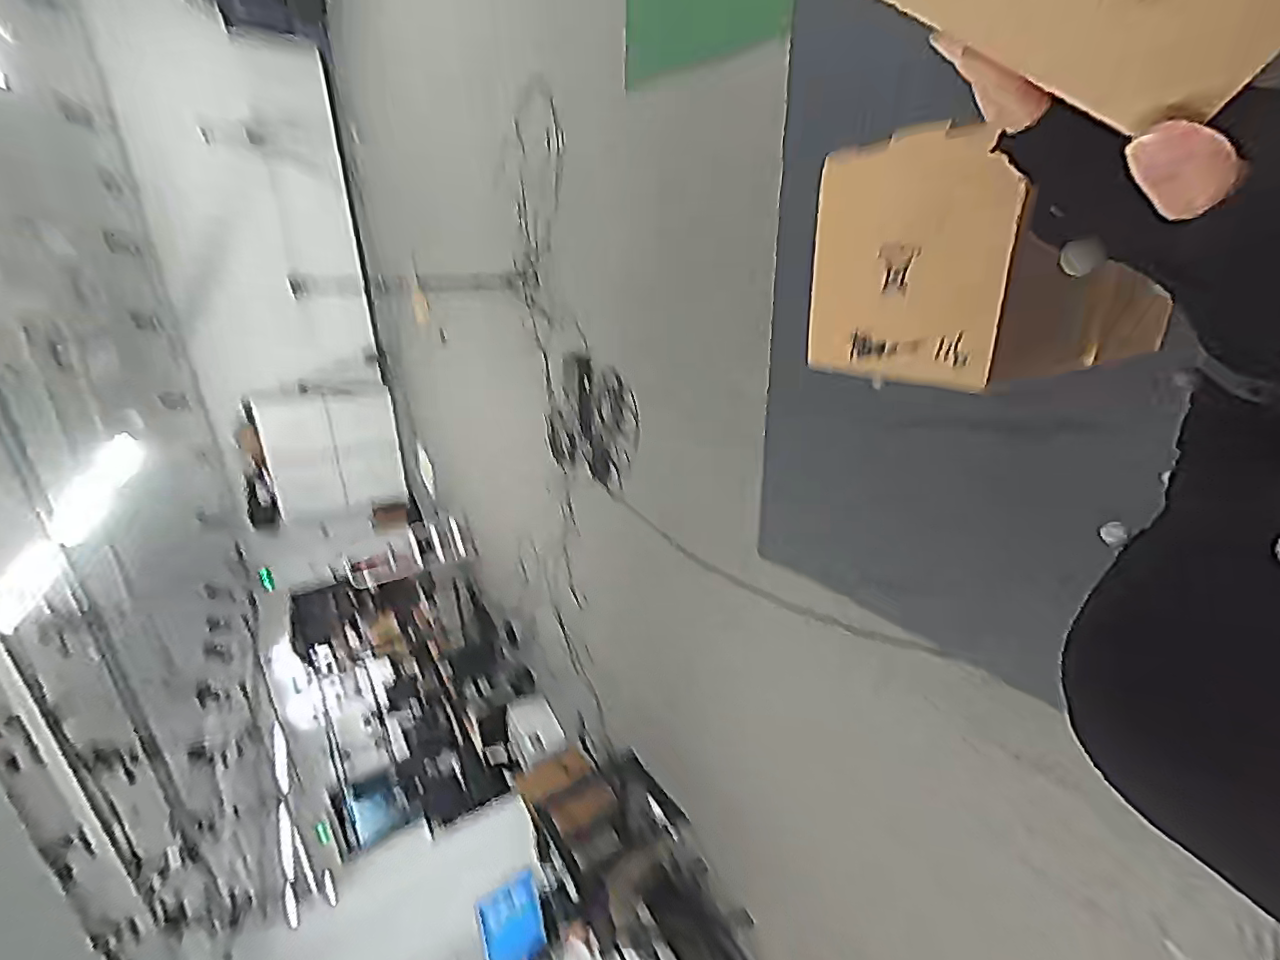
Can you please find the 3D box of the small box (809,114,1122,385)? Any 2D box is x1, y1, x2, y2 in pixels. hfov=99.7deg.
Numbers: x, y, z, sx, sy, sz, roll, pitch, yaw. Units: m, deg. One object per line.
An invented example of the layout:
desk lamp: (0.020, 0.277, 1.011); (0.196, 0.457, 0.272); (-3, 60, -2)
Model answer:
small box: (0.276, -0.189, 0.474); (0.168, 0.176, 0.179); (28, 125, 53)

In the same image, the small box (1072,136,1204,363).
small box: (0.418, -0.223, 0.548); (0.168, 0.176, 0.179); (27, 126, 54)
